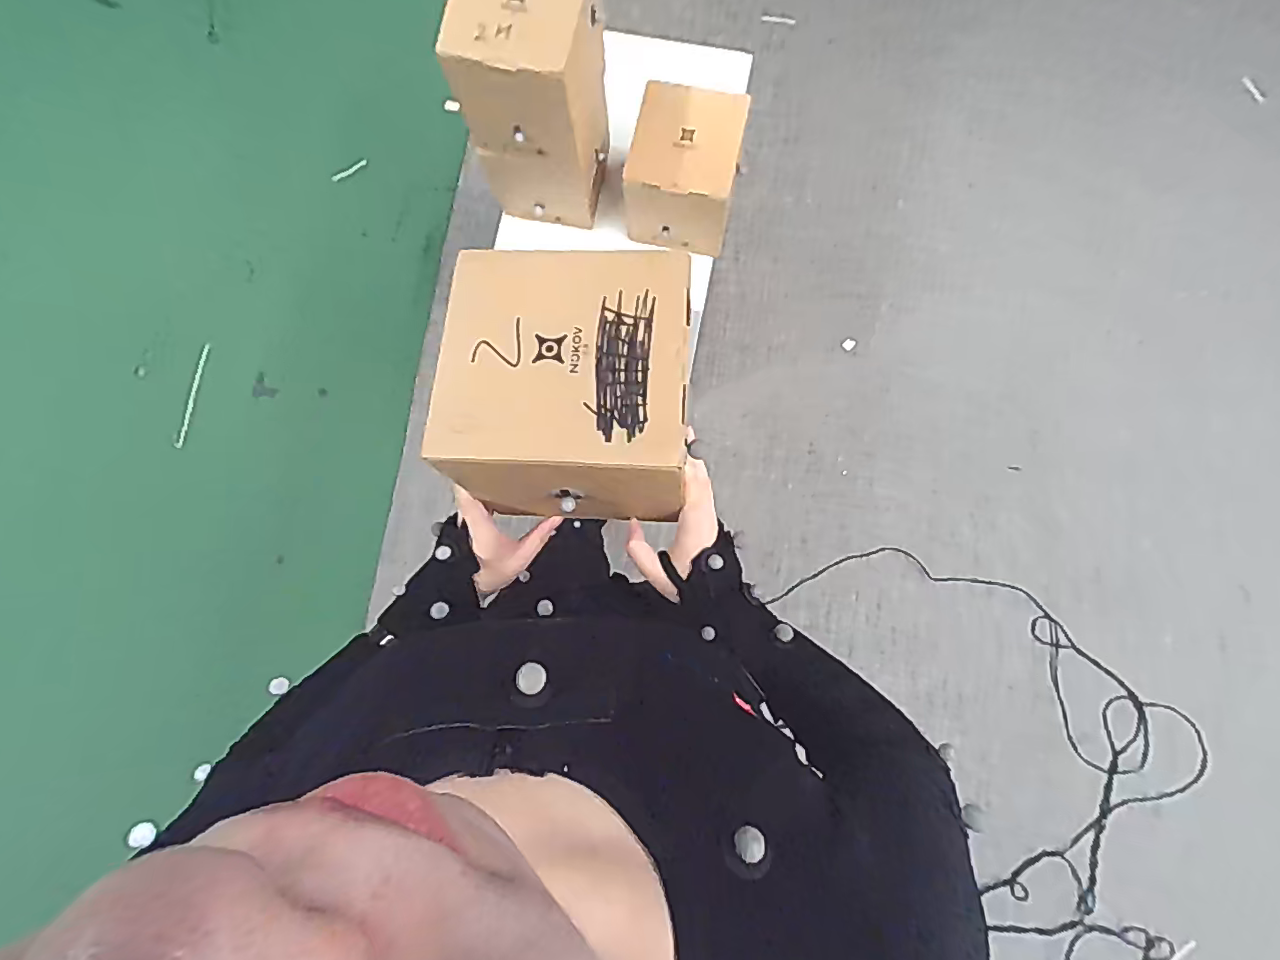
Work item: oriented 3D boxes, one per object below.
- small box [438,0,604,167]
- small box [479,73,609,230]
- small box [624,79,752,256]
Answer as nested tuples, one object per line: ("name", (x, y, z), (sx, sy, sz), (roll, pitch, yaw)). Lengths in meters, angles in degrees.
("small box", (-0.149, -0.579, 0.746), (0.168, 0.176, 0.179), (12, 85, 3))
("small box", (-0.150, -0.559, 0.910), (0.168, 0.176, 0.179), (11, 85, 3))
("small box", (0.076, -0.508, 0.897), (0.168, 0.176, 0.179), (13, 85, 4))
